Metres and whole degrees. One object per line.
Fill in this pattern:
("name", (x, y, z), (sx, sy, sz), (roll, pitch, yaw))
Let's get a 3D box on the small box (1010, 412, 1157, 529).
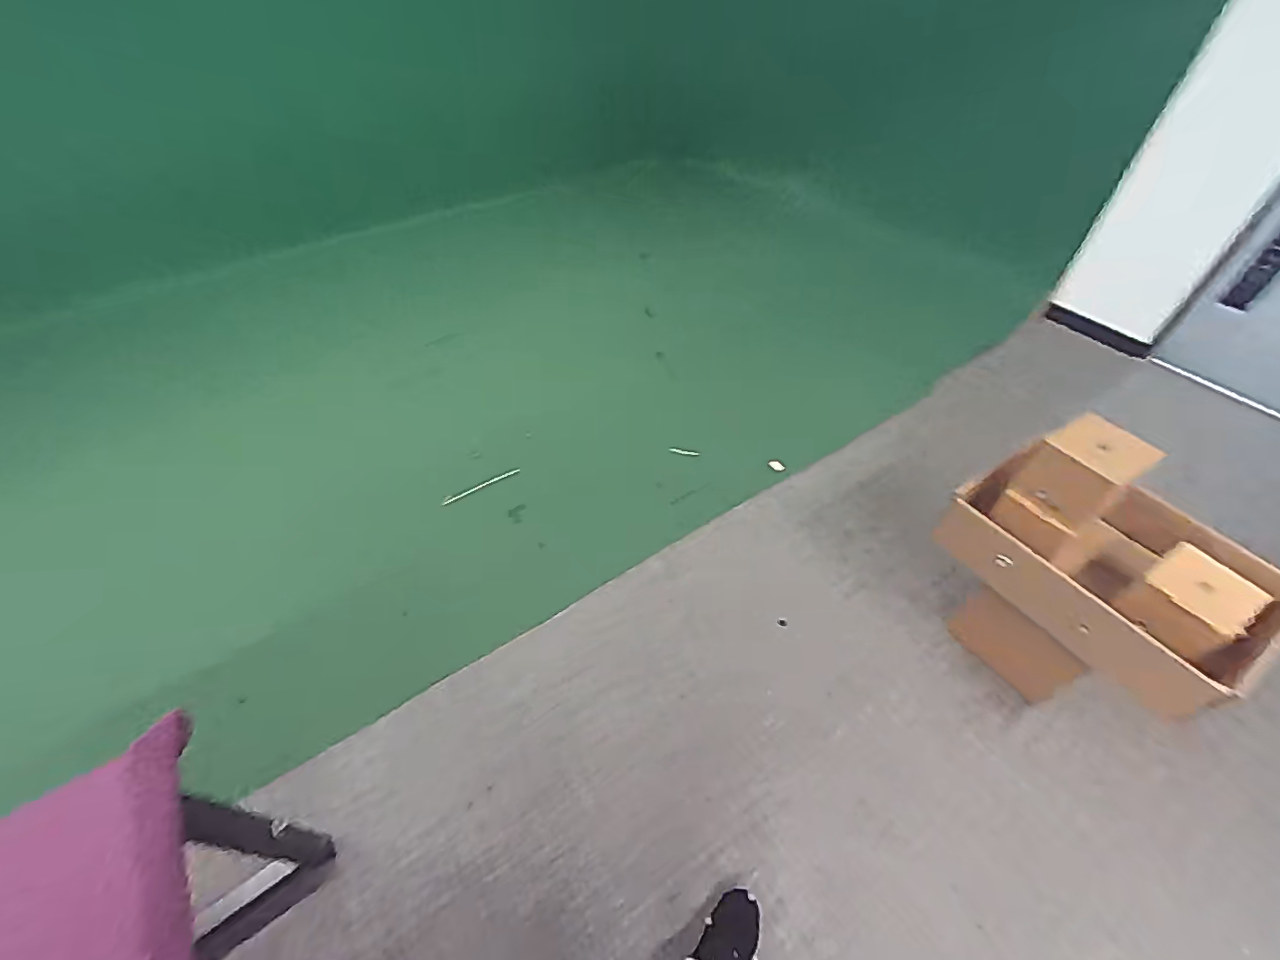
("small box", (1.008, -0.021, 1.248), (0.179, 0.176, 0.168), (-25, 52, -19))
